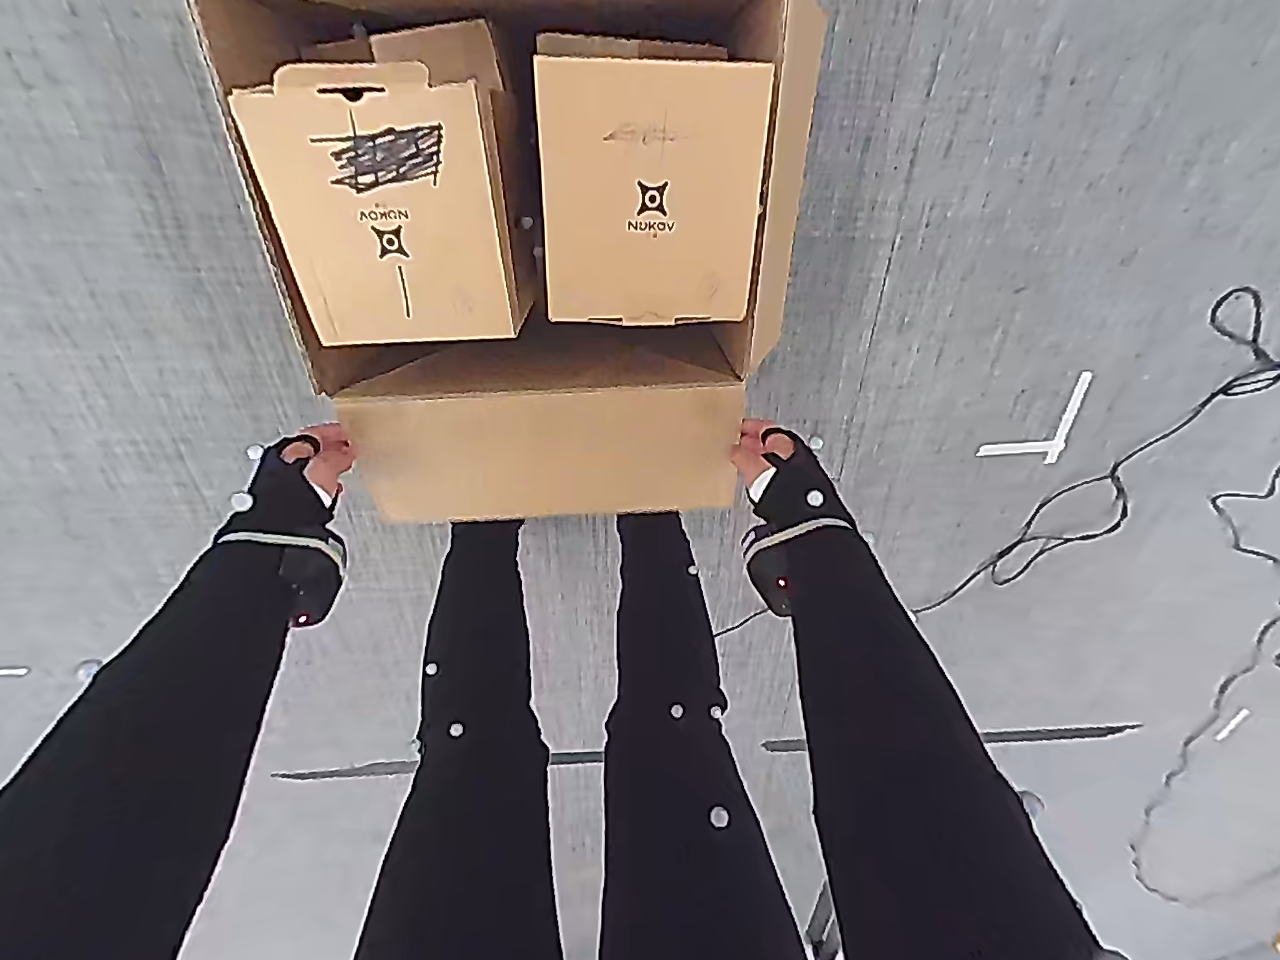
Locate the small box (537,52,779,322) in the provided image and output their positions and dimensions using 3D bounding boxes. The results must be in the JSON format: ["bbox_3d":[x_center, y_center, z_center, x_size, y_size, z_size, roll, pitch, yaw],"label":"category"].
[{"bbox_3d":[0.005,-0.246,0.469,0.168,0.176,0.179,-3,120,-6],"label":"small box"}]
